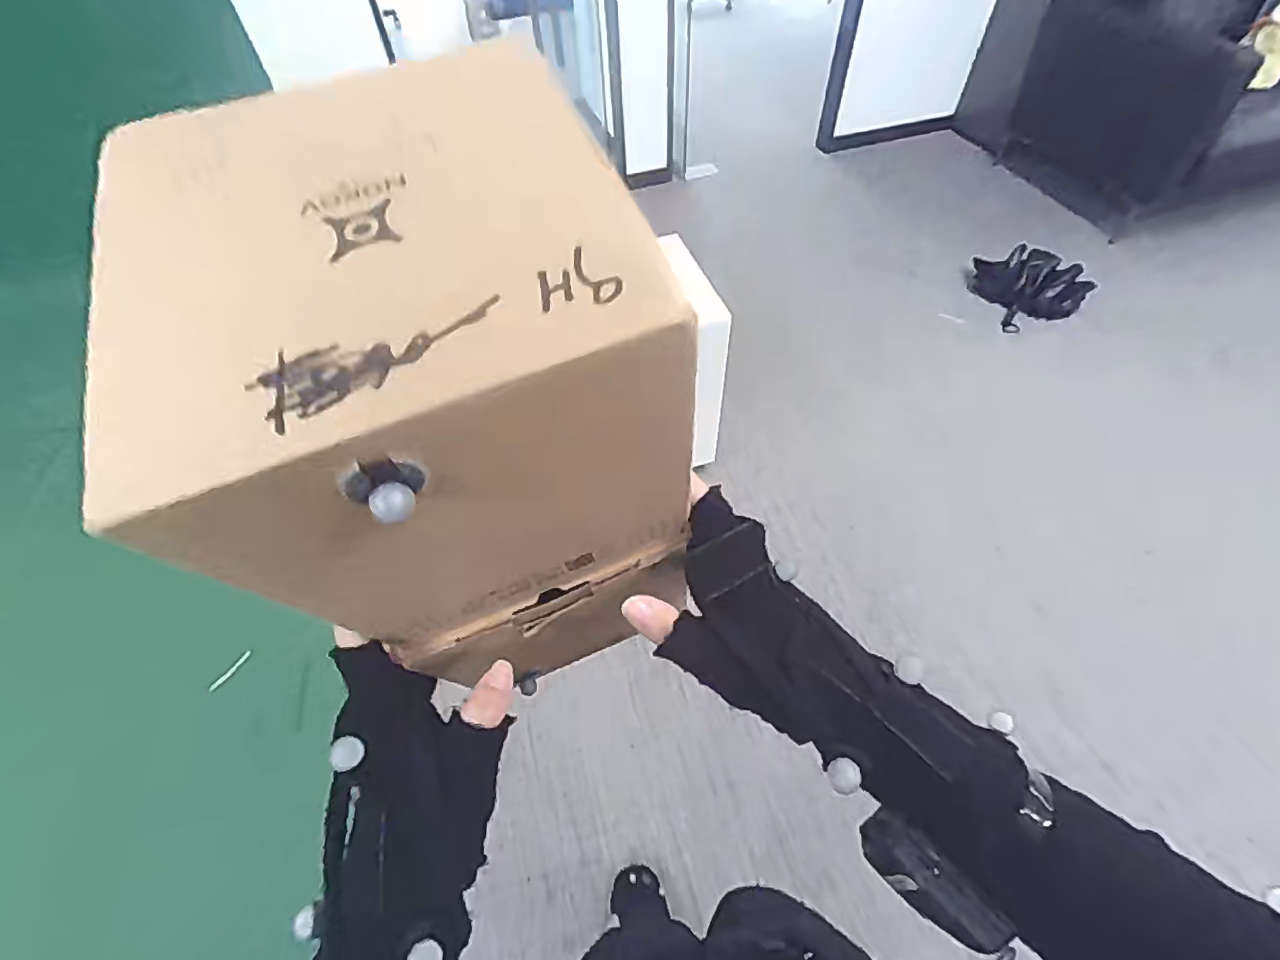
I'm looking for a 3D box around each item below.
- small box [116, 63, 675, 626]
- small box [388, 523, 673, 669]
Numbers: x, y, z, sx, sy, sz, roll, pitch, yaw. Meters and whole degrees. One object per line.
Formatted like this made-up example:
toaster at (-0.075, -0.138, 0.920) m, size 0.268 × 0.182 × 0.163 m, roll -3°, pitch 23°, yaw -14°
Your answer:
small box at (-0.090, -0.053, 0.266) m, size 0.168 × 0.176 × 0.179 m, roll -21°, pitch 63°, yaw -6°
small box at (-0.079, 0.028, 0.407) m, size 0.168 × 0.176 × 0.179 m, roll -21°, pitch 62°, yaw -6°
